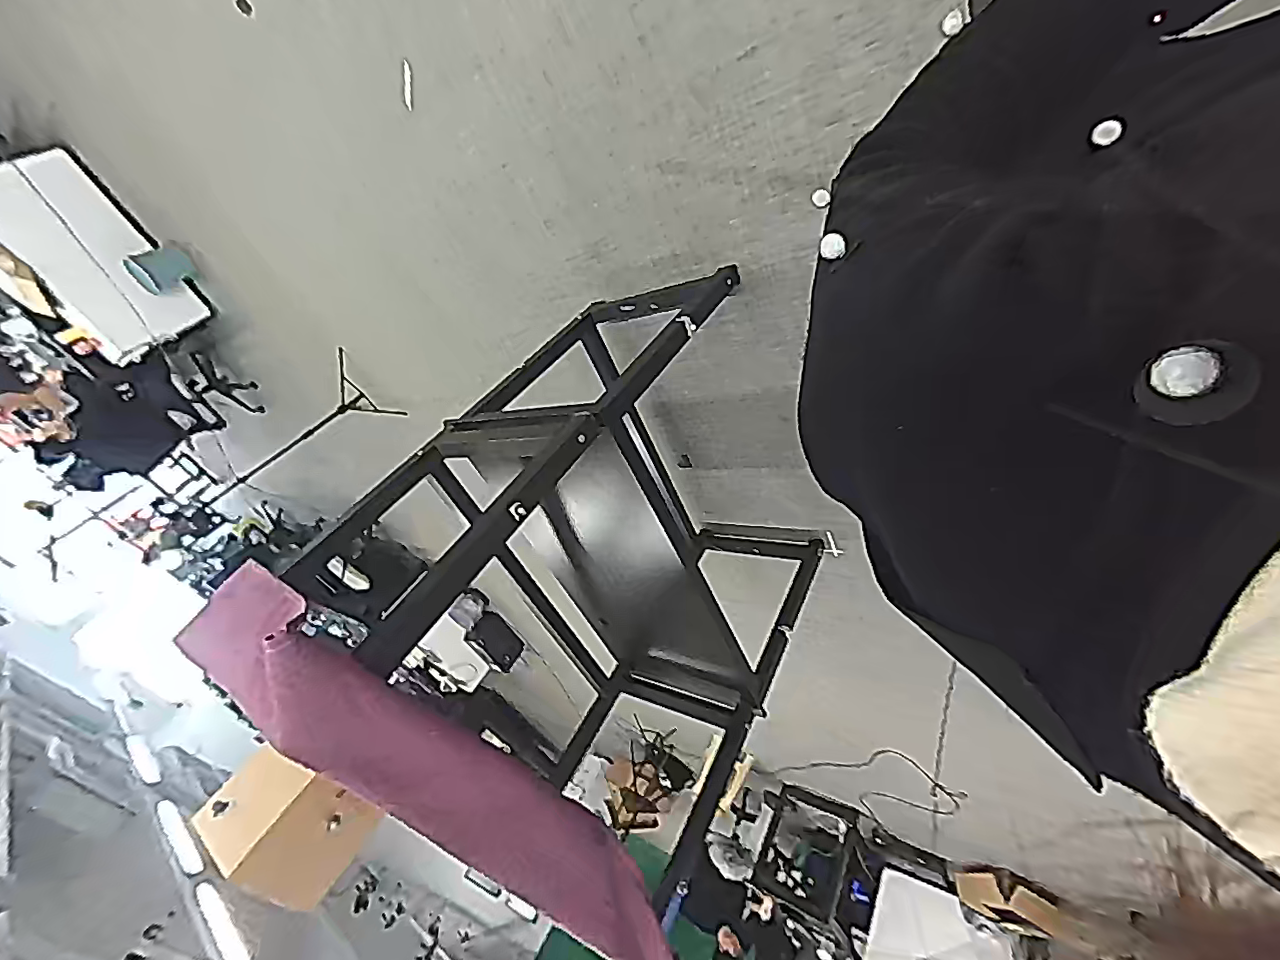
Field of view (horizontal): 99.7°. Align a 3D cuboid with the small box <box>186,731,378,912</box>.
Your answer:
[{"bbox_3d":[-0.567,0.537,0.873,0.179,0.176,0.168,6,136,37],"label":"small box"}]
